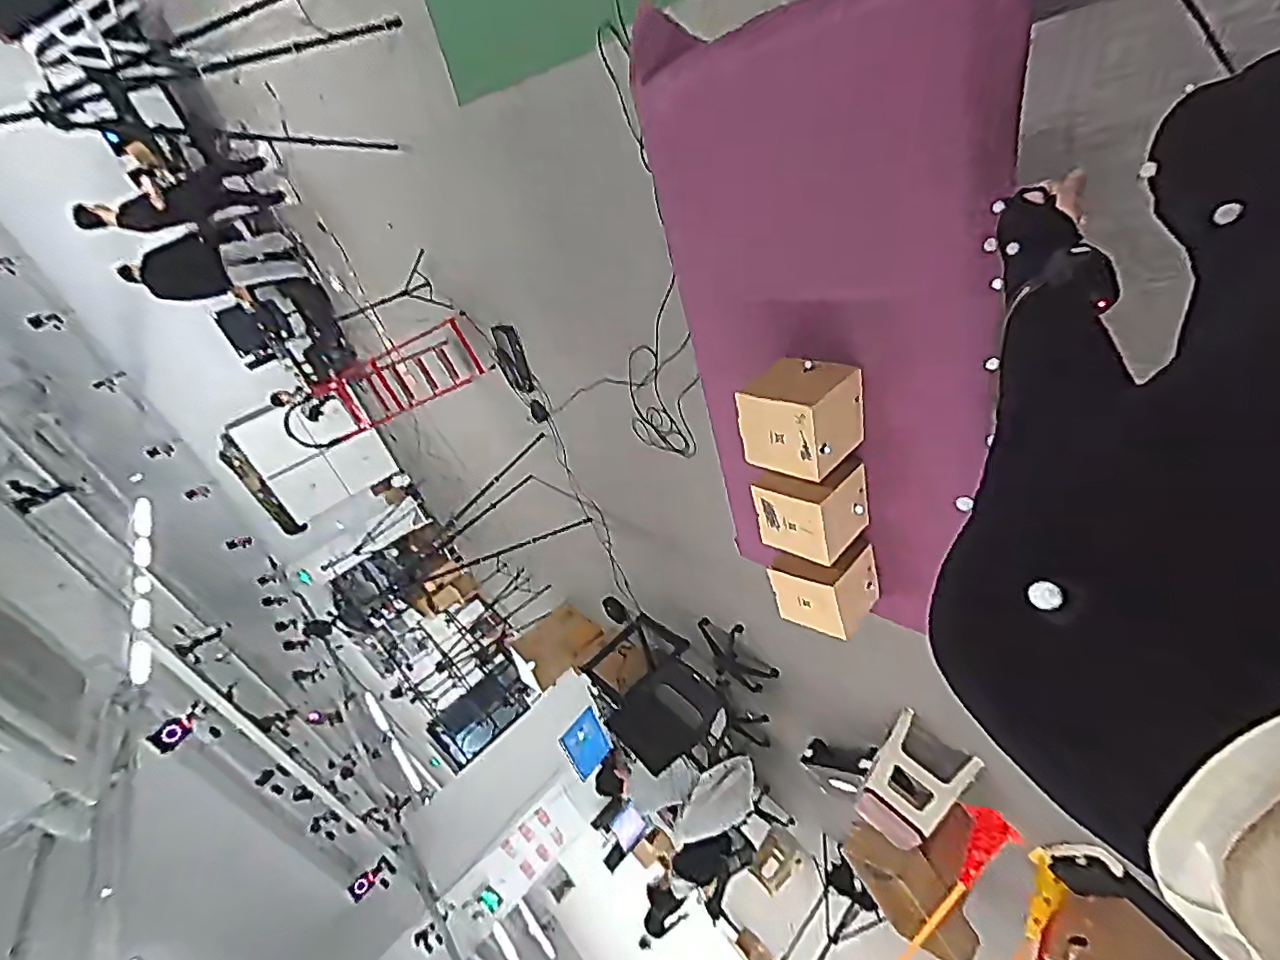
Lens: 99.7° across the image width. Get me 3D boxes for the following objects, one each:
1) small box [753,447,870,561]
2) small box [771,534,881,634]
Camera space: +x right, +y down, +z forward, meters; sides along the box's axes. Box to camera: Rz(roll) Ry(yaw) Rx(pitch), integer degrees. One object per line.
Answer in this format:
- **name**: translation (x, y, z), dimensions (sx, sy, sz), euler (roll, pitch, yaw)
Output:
- **small box**: translation (0.383, 0.044, 1.200), dimensions (0.179, 0.176, 0.168), euler (19, 137, 47)
- **small box**: translation (0.452, 0.232, 1.309), dimensions (0.179, 0.176, 0.168), euler (14, 134, 50)
